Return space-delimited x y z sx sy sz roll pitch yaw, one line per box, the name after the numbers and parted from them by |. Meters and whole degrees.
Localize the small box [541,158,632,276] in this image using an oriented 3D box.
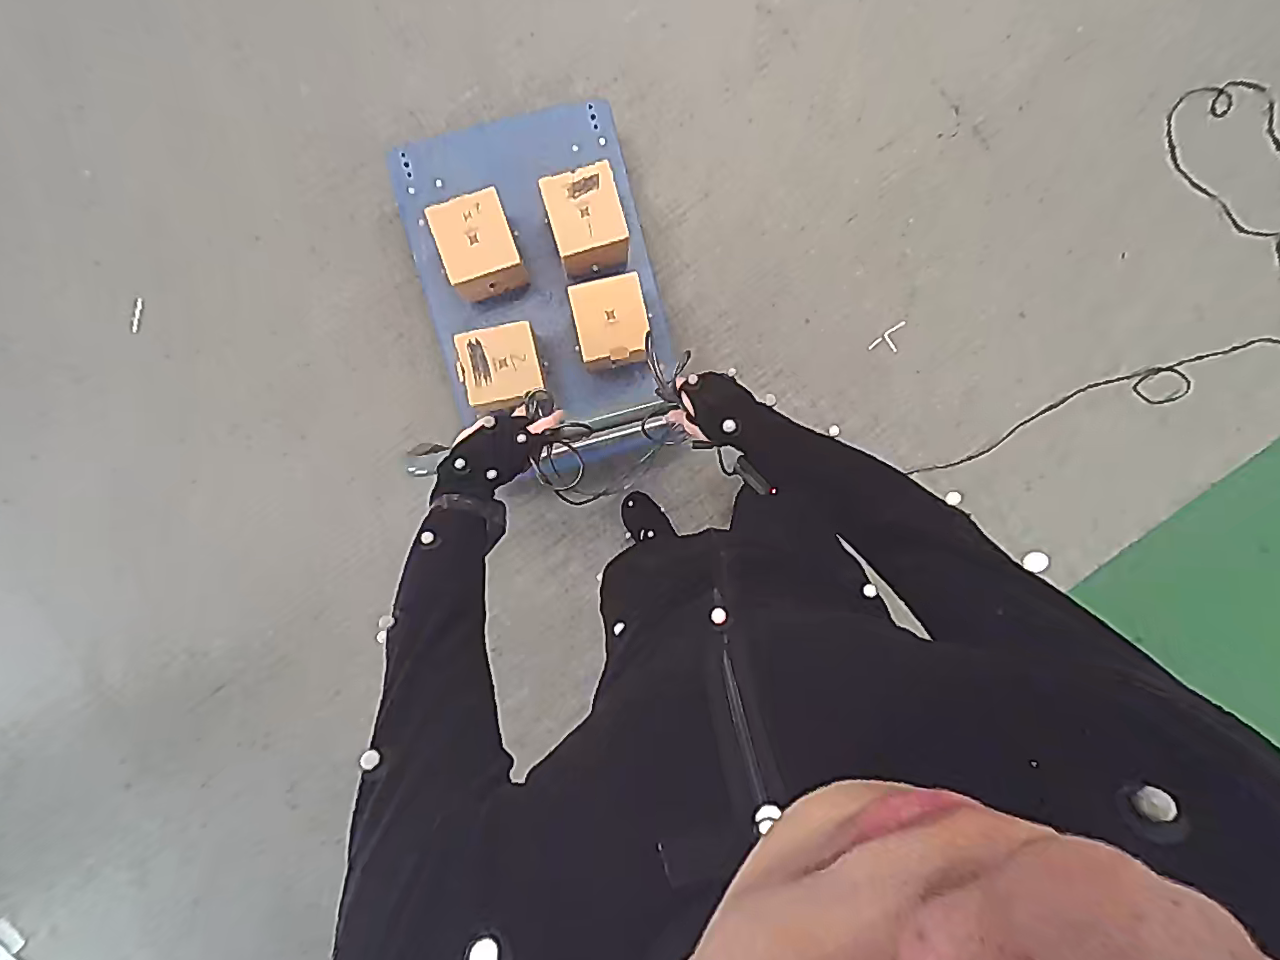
-0.122 -0.614 1.283 0.168 0.176 0.179 -18 95 0 | small box

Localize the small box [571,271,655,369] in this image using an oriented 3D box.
-0.066 -0.379 1.308 0.168 0.176 0.179 -13 96 -2 | small box

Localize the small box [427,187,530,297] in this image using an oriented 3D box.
-0.371 -0.549 1.278 0.168 0.176 0.179 -19 95 -1 | small box
